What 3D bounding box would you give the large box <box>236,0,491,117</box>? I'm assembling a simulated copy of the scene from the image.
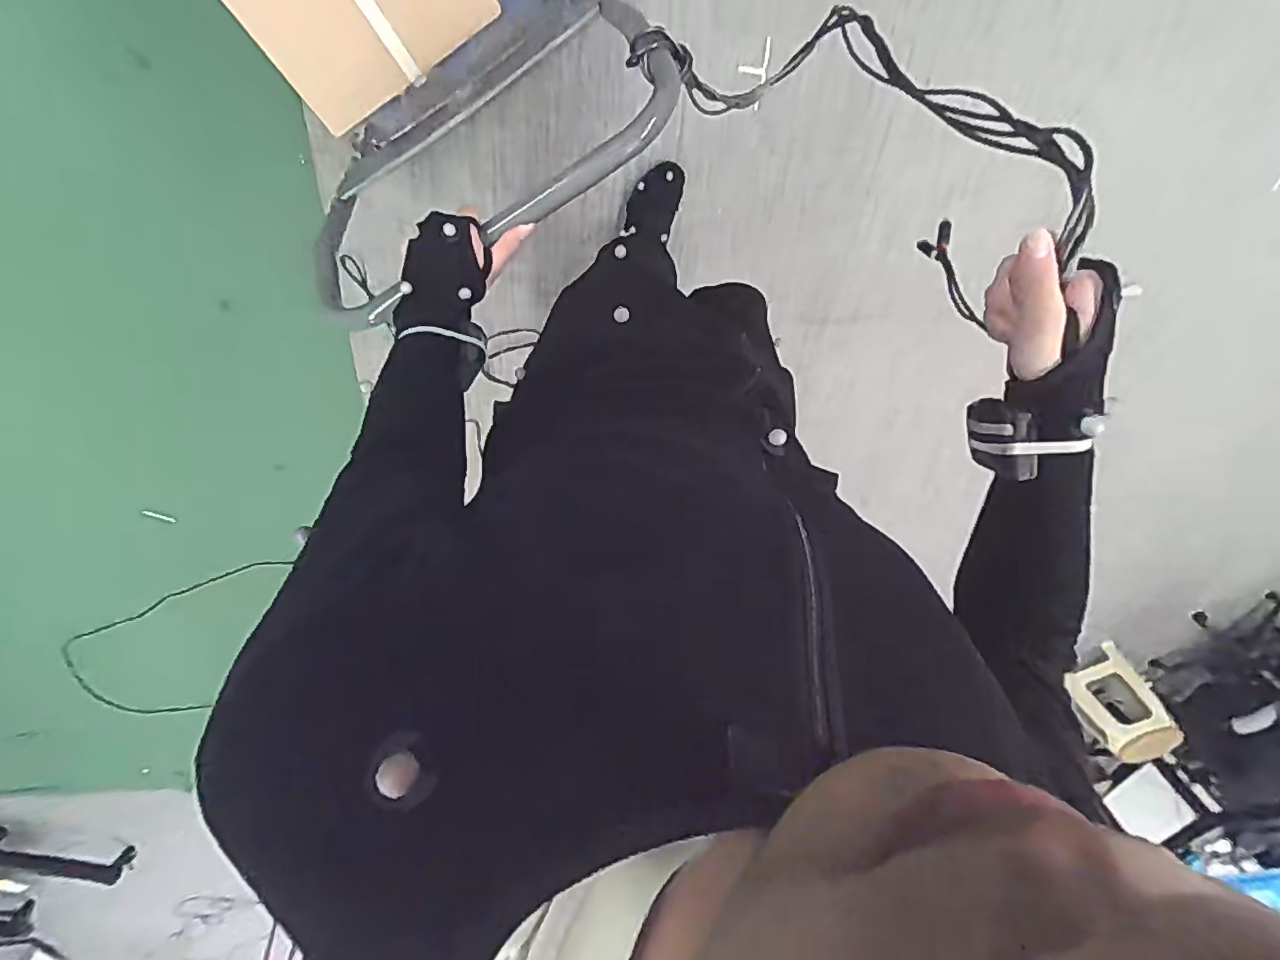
[{"bbox_3d":[-0.433,-0.816,0.738,0.320,0.320,0.408,-26,135,12],"label":"large box"}]
